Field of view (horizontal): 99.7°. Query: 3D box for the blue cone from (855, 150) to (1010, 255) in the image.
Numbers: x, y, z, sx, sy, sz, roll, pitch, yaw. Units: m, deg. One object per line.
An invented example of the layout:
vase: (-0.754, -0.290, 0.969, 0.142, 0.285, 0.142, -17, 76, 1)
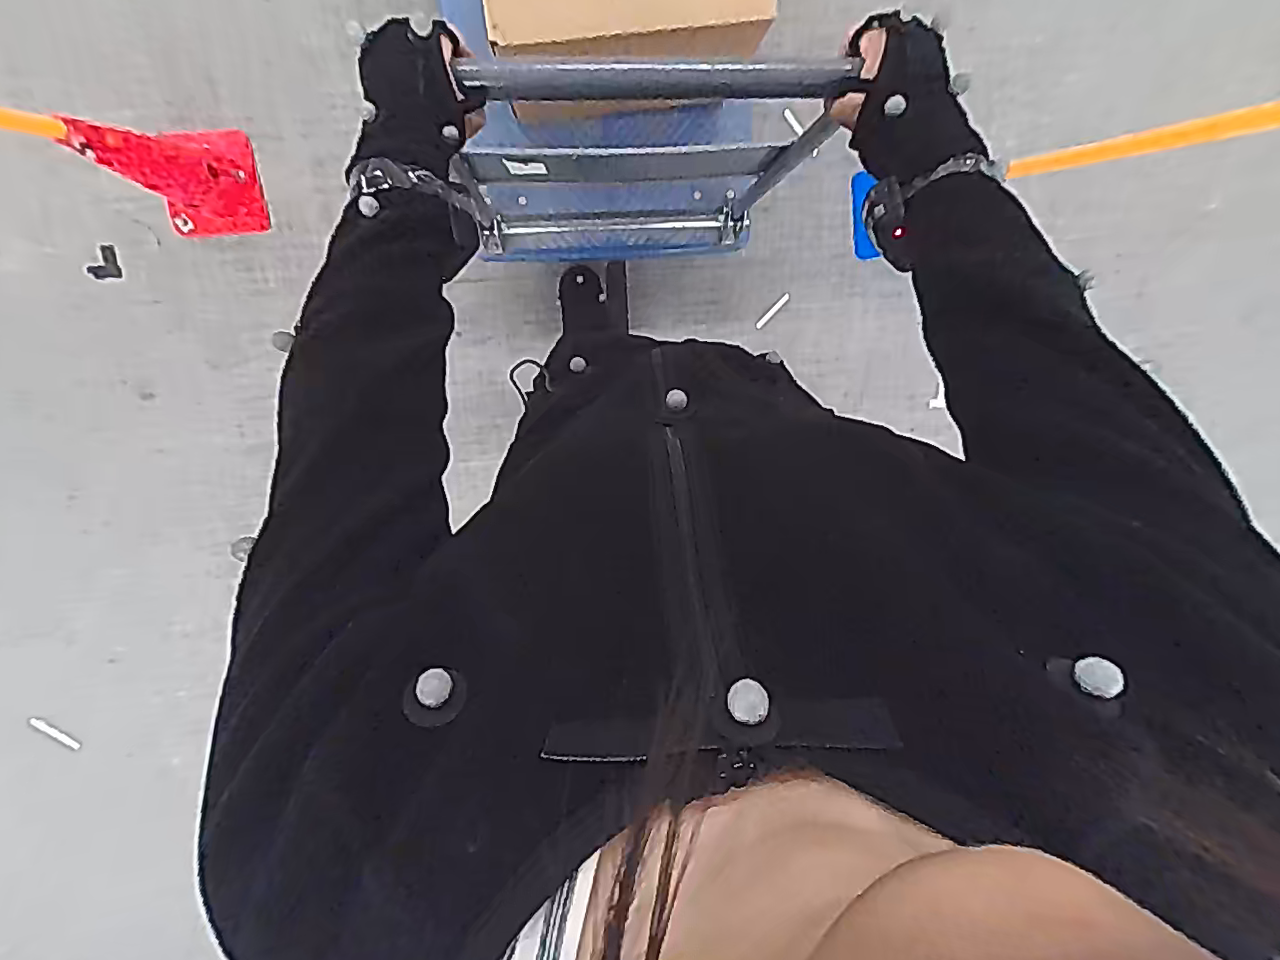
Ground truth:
blue cone: (0.632, -0.610, 1.152, 0.193, 0.380, 0.192, -9, 105, -4)
